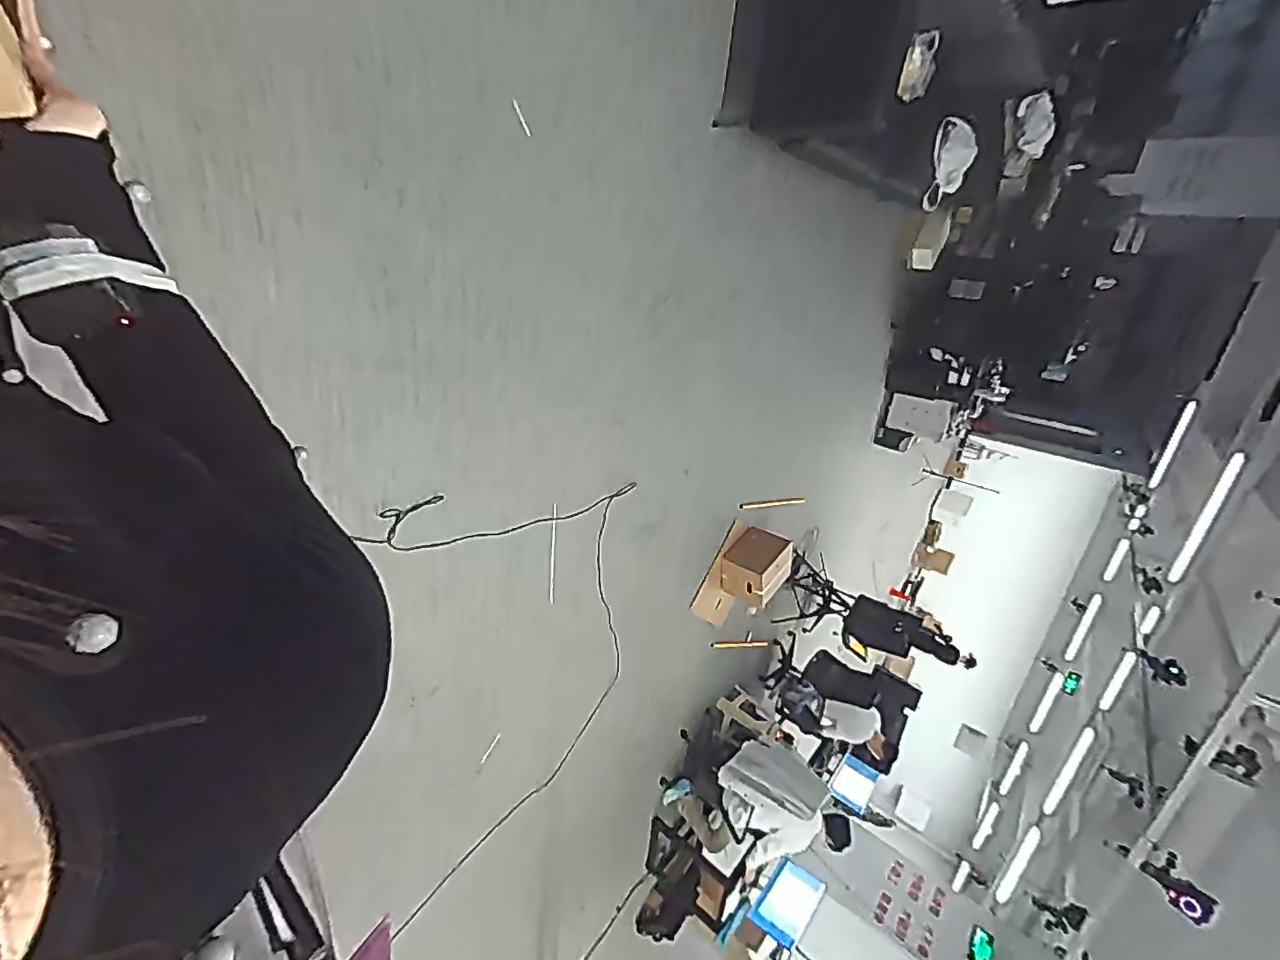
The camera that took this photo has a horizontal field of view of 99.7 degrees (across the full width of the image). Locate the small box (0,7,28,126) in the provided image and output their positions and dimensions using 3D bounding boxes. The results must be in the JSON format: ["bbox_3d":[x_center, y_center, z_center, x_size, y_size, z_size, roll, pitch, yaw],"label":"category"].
[{"bbox_3d":[-0.482,-0.305,0.282,0.168,0.176,0.179,-25,143,-29],"label":"small box"}]
